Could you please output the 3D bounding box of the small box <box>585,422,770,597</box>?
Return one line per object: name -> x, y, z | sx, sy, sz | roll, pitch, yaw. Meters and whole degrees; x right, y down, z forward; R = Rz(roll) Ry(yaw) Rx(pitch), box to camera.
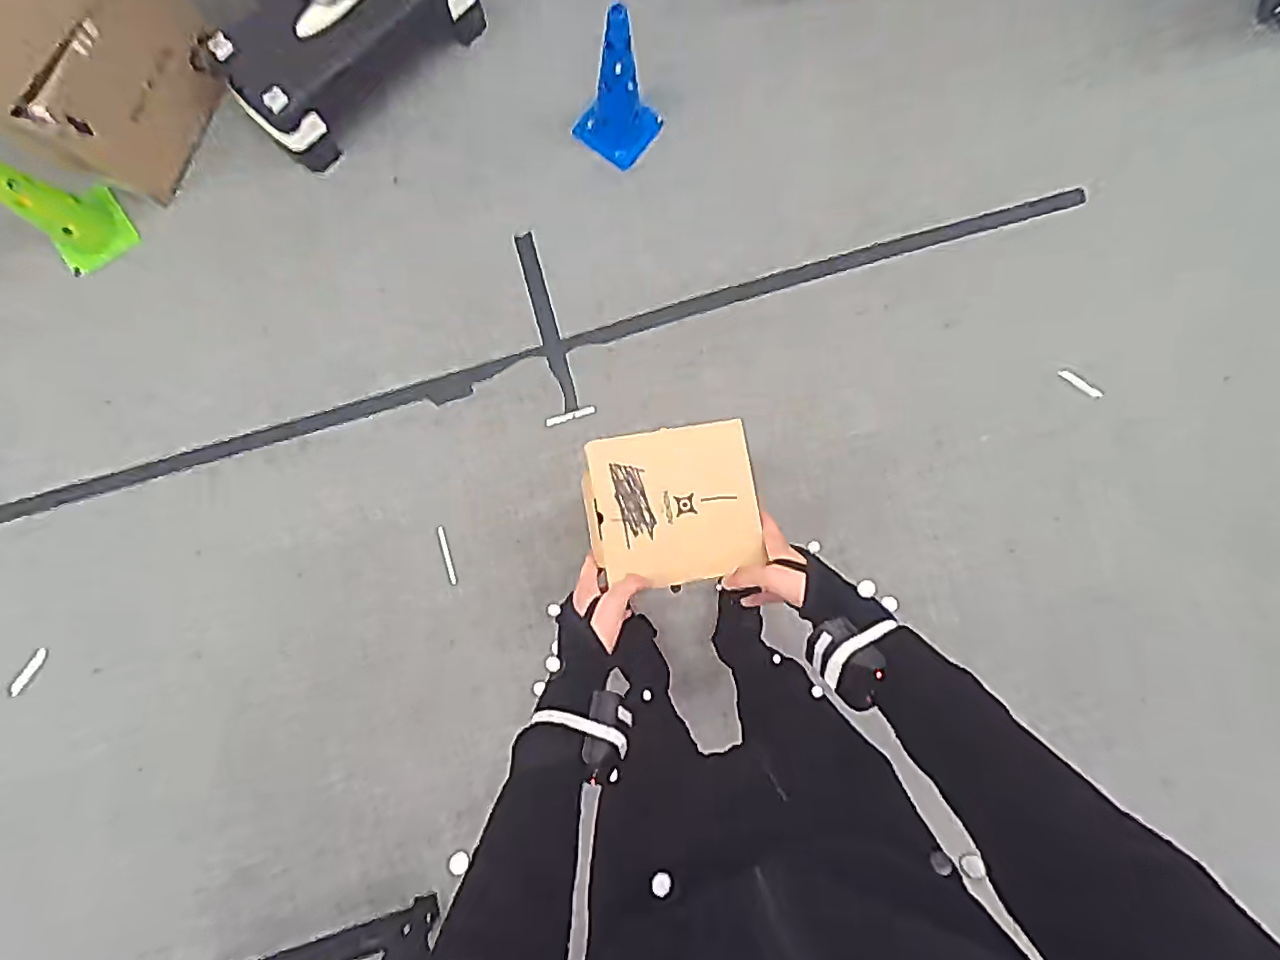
small box -> 0.037, 0.038, 0.648 | 0.179, 0.176, 0.168 | -10, 85, -3
